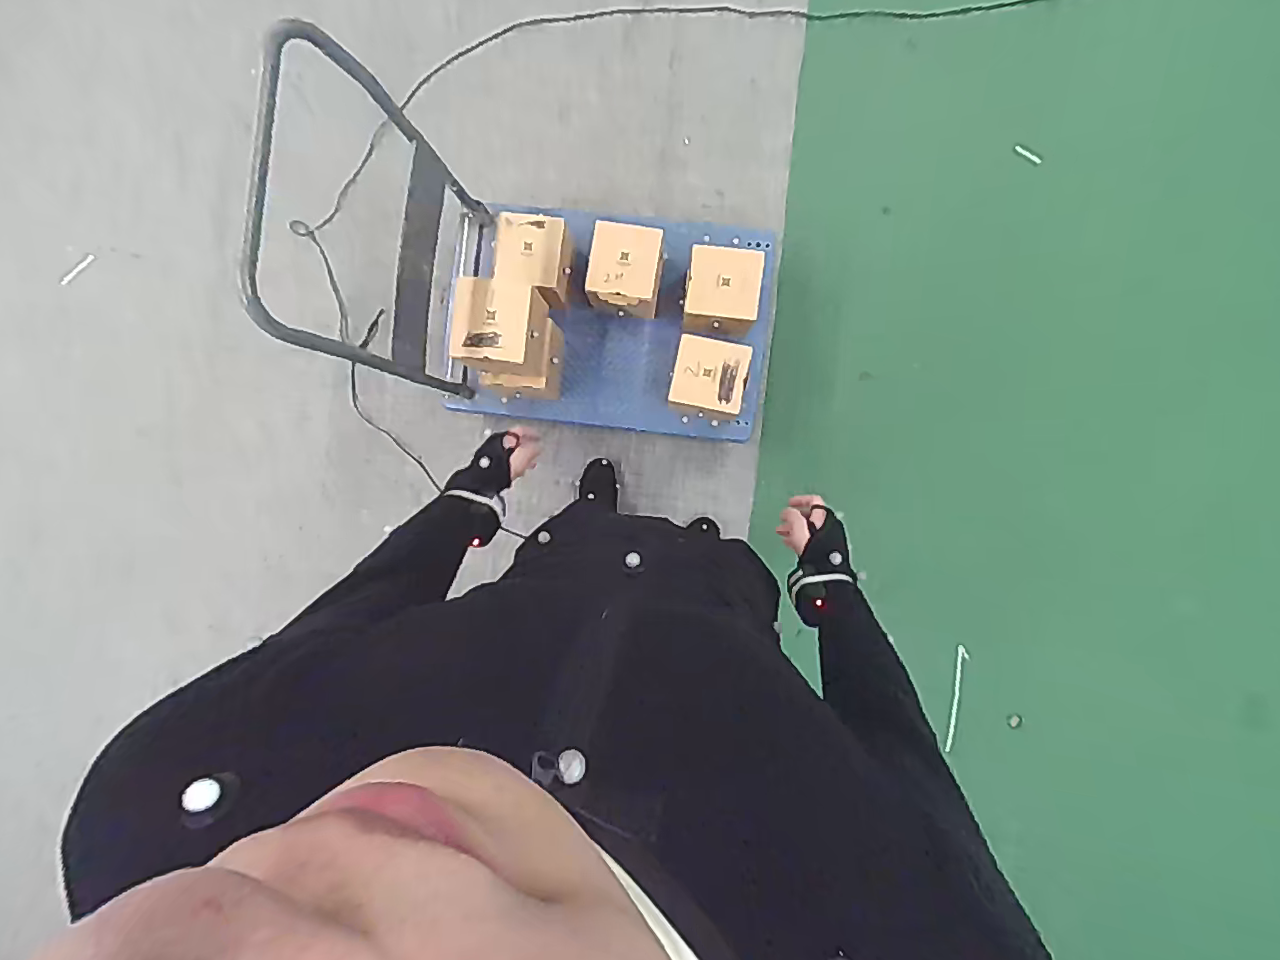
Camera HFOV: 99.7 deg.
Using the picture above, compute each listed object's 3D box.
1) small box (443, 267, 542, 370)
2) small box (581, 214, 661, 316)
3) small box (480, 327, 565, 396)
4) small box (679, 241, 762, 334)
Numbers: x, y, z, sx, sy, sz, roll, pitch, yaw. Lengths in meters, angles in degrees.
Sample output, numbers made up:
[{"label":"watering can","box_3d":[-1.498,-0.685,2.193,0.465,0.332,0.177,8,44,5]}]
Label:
[{"label":"small box","box_3d":[-0.324,-0.353,1.217,0.168,0.176,0.179,7,90,1]},{"label":"small box","box_3d":[-0.044,-0.536,1.368,0.168,0.176,0.179,11,91,3]},{"label":"small box","box_3d":[-0.319,-0.332,1.390,0.179,0.176,0.168,37,93,2]},{"label":"small box","box_3d":[0.194,-0.475,1.359,0.179,0.176,0.168,9,91,3]}]
